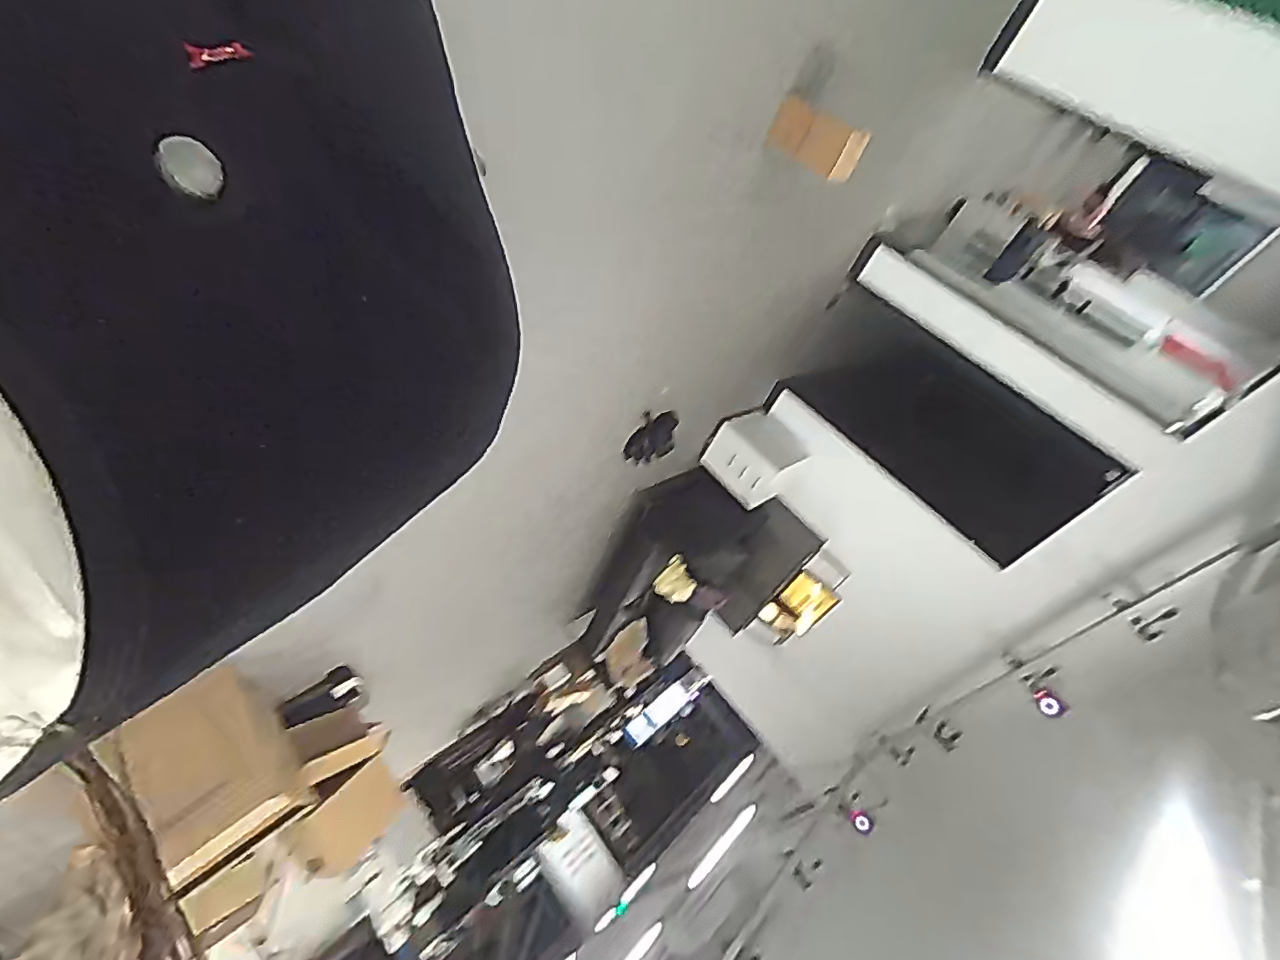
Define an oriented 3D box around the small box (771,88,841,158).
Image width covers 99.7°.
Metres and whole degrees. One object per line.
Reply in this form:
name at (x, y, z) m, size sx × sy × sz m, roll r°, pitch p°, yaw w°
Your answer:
small box at (0.647, -1.409, 2.138) m, size 0.168 × 0.176 × 0.179 m, roll -25°, pitch 151°, yaw -41°
